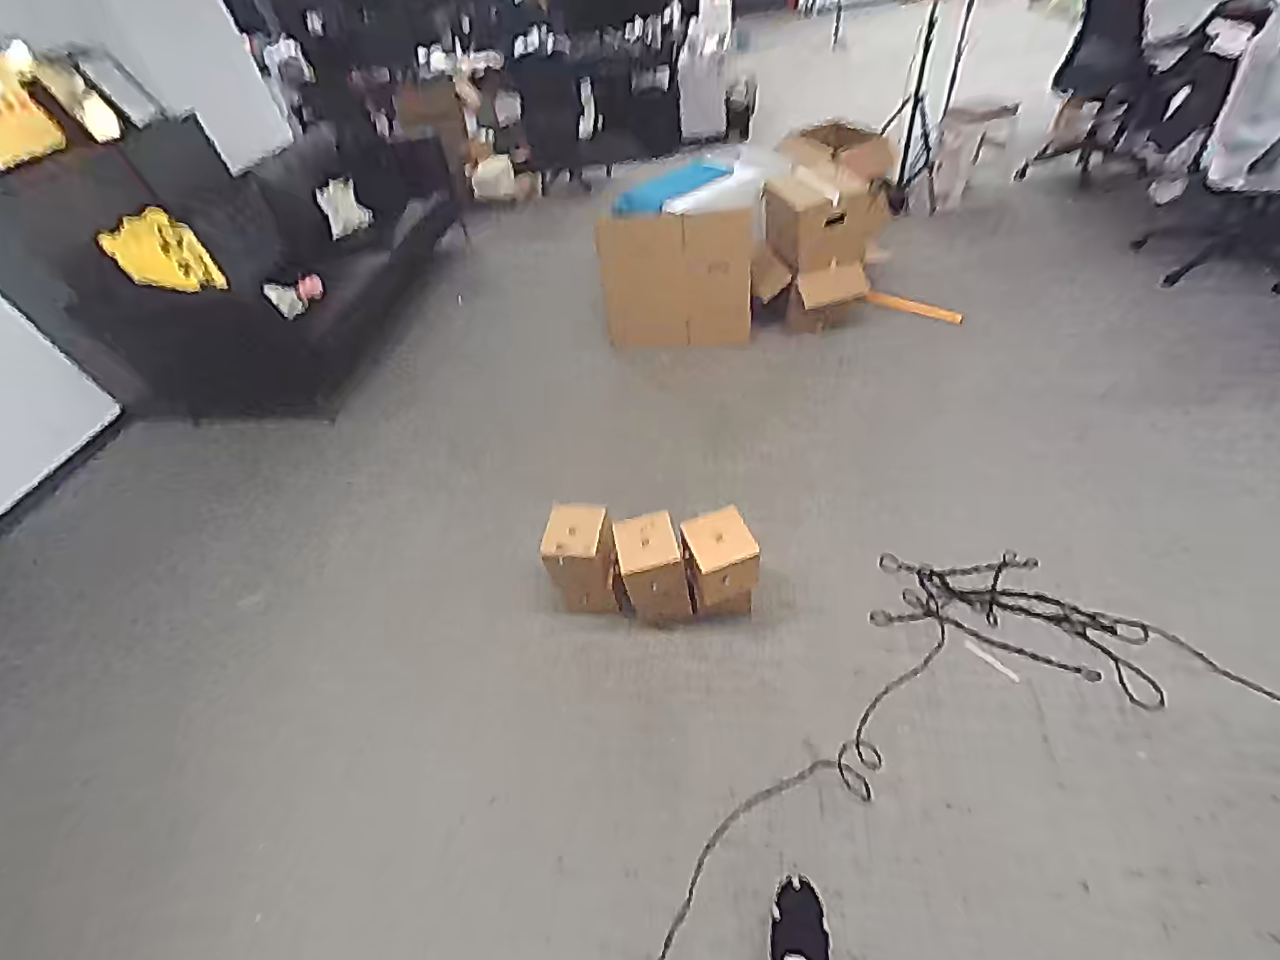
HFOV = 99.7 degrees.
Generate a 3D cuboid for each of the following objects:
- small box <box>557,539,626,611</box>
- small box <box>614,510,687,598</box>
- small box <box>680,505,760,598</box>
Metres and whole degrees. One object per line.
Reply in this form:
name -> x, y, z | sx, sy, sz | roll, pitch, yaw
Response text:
small box -> -0.143, 0.304, 1.716 | 0.179, 0.176, 0.168 | -1, 46, 12
small box -> 0.032, 0.217, 1.535 | 0.168, 0.176, 0.179 | -13, 45, -1
small box -> 0.226, 0.205, 1.503 | 0.168, 0.176, 0.179 | -19, 45, -6
